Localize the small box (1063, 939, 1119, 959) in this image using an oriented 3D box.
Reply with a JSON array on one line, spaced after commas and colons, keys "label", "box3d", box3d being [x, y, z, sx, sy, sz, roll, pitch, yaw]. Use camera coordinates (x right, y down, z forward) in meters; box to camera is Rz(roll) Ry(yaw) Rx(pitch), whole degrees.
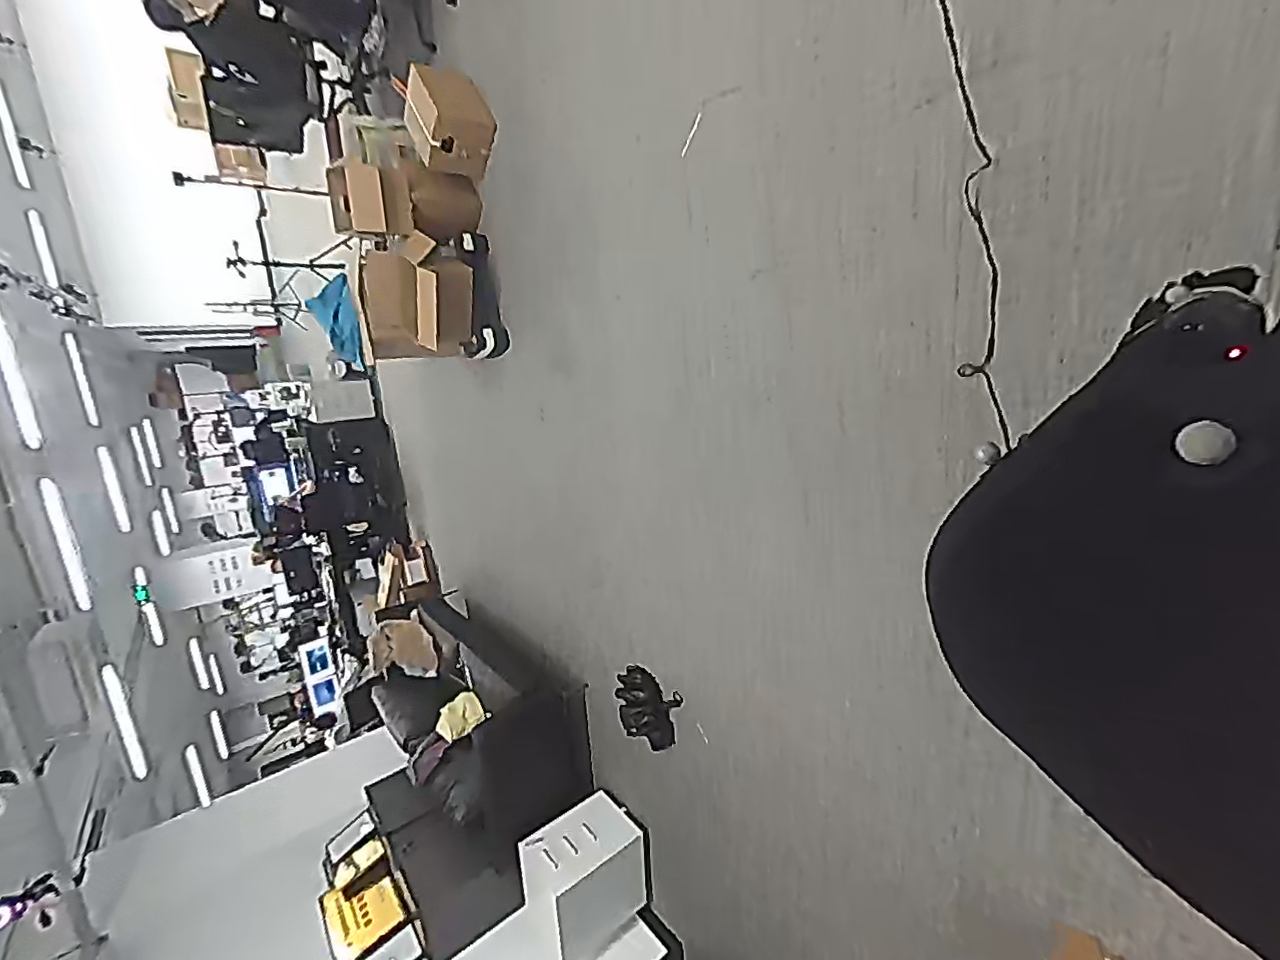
[{"label": "small box", "box3d": [1.104, 1.257, 1.289, 0.179, 0.176, 0.168, 19, 116, 49]}]
